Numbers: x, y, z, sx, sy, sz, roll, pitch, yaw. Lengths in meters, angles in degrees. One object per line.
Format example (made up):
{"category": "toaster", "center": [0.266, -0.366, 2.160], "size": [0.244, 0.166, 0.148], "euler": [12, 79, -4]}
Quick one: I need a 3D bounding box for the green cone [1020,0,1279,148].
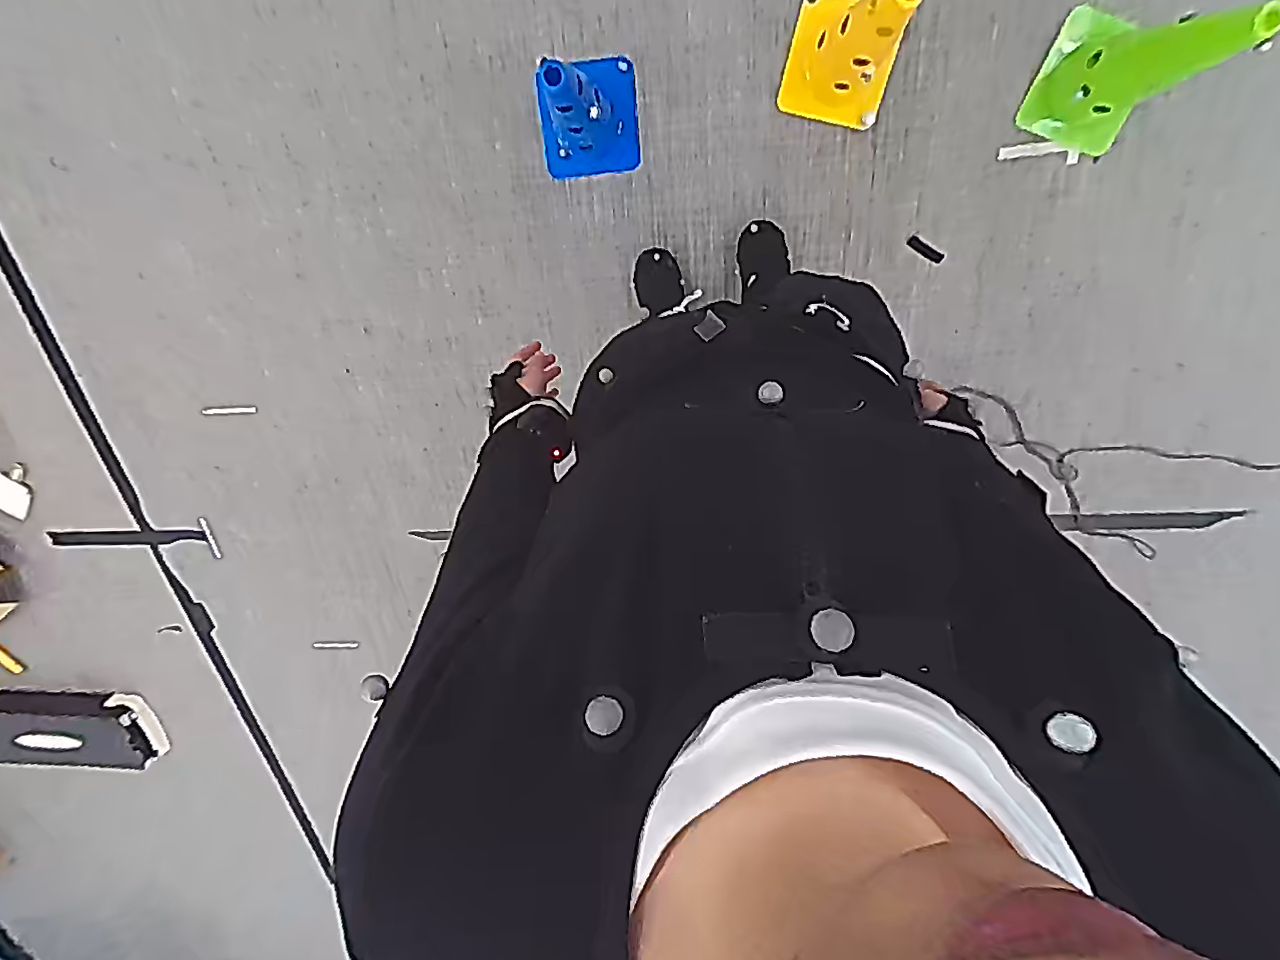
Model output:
{"category": "green cone", "center": [0.843, -0.690, 0.868], "size": [0.200, 0.368, 0.202], "euler": [17, 116, -4]}
